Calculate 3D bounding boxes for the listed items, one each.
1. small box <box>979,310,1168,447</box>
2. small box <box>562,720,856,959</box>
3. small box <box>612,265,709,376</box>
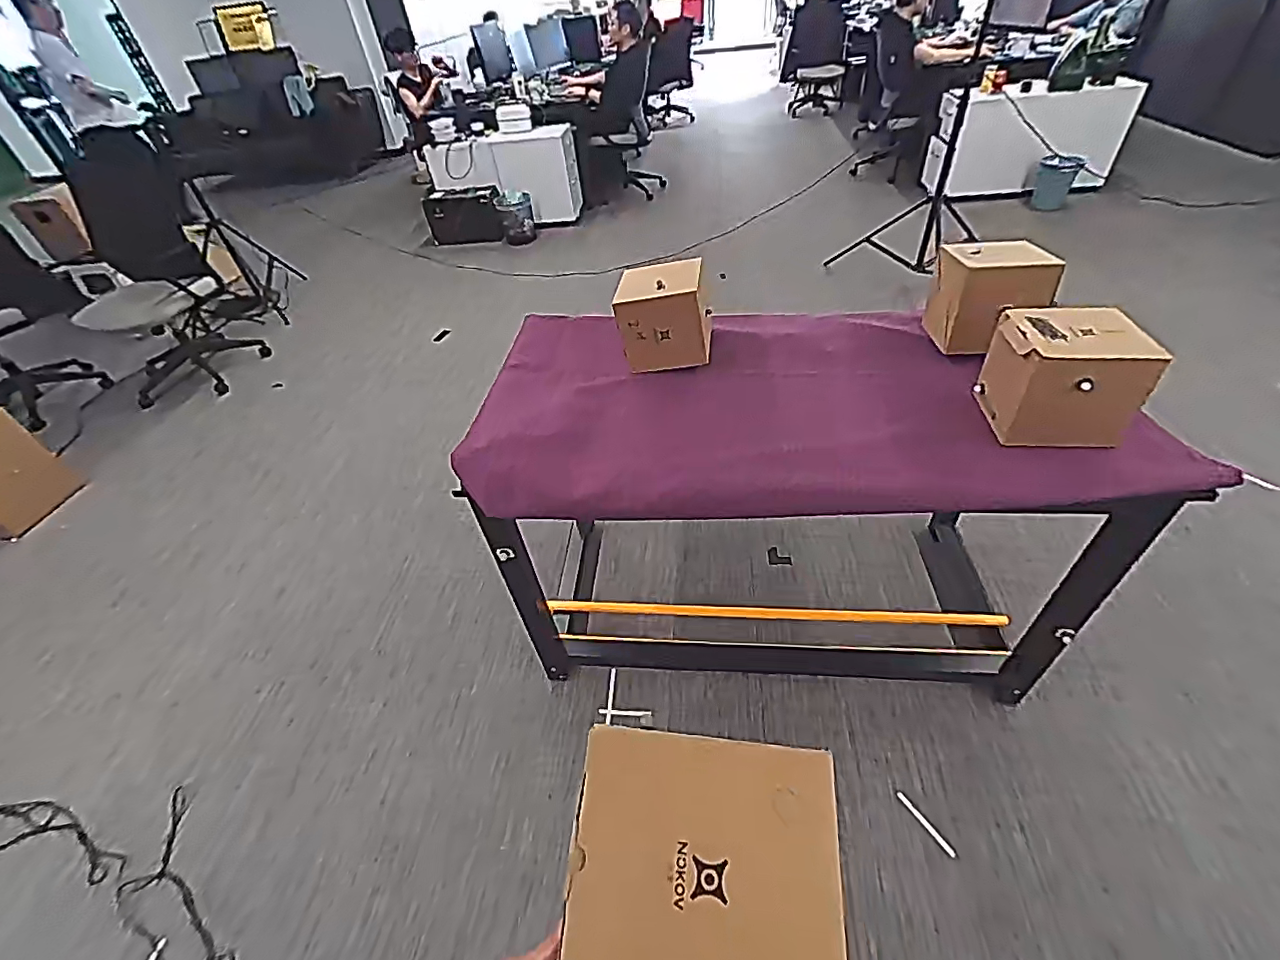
[{"bbox_3d":[0.697,-0.168,0.903,0.179,0.176,0.168,2,42,9],"label":"small box"},{"bbox_3d":[0.050,0.291,0.412,0.179,0.176,0.168,2,58,7],"label":"small box"},{"bbox_3d":[0.054,-0.346,1.169,0.179,0.168,0.176,-4,41,15],"label":"small box"}]
